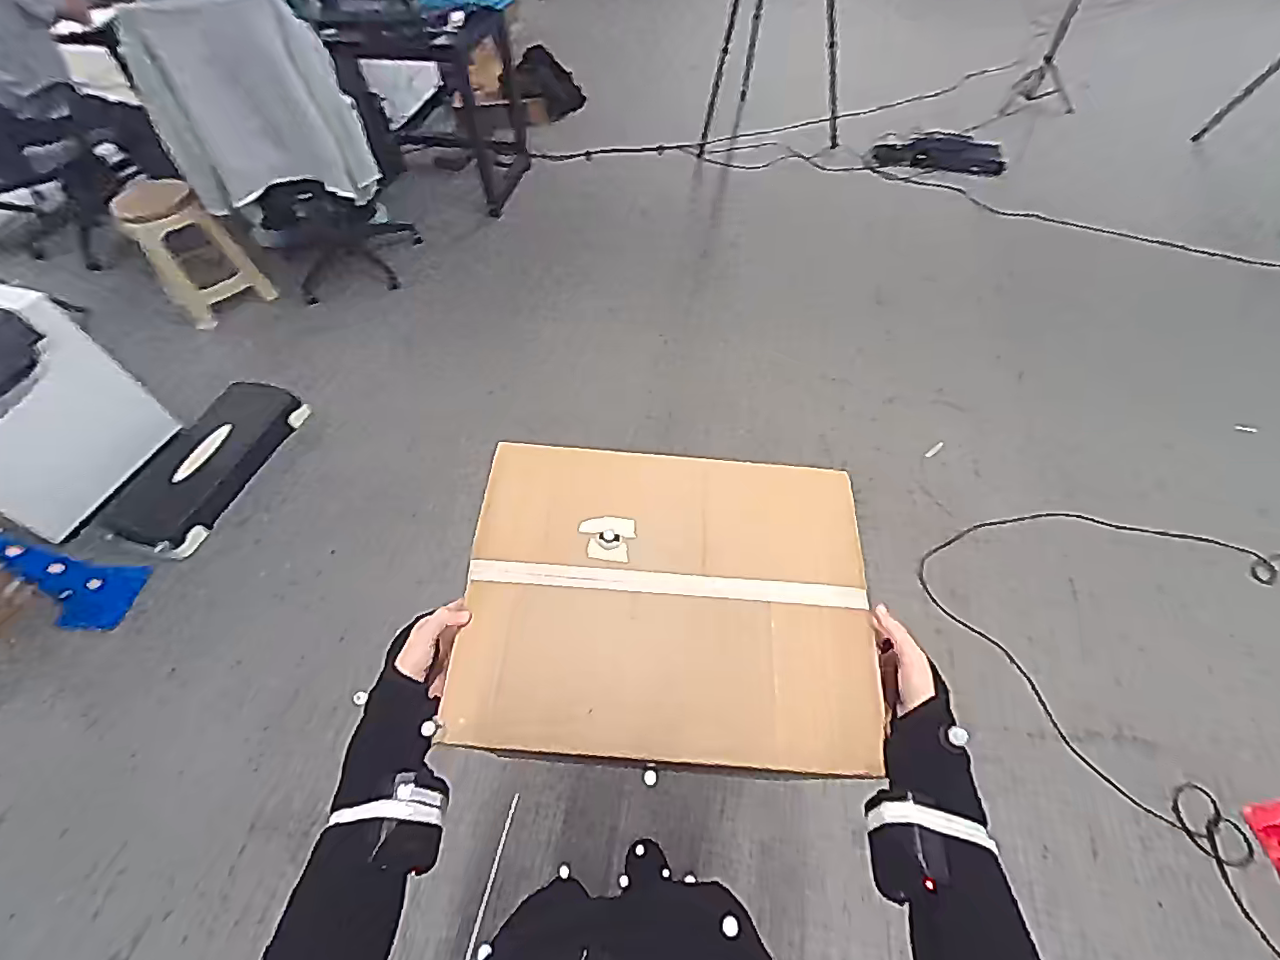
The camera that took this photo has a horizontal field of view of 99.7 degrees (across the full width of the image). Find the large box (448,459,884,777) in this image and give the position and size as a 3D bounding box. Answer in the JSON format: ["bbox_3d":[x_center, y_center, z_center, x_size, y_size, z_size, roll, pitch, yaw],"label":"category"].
[{"bbox_3d":[0.029,0.192,0.687,0.408,0.320,0.320,4,59,0],"label":"large box"}]
